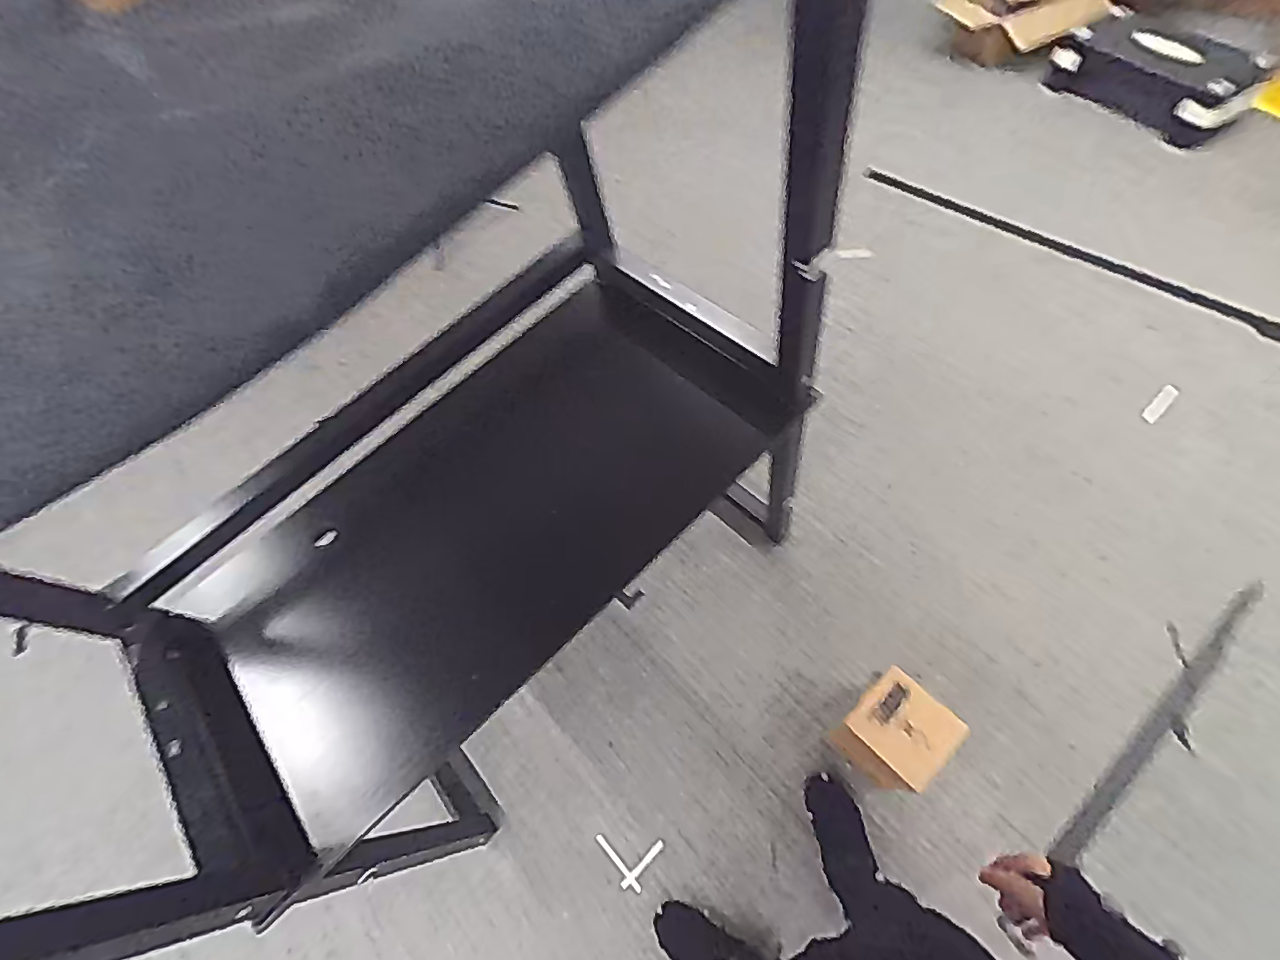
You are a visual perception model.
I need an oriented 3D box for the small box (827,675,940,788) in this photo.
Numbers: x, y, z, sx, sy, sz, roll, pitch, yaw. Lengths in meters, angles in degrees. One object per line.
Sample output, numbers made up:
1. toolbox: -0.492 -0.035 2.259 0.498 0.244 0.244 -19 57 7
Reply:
1. small box: 0.566 0.595 1.286 0.168 0.176 0.179 39 77 26
